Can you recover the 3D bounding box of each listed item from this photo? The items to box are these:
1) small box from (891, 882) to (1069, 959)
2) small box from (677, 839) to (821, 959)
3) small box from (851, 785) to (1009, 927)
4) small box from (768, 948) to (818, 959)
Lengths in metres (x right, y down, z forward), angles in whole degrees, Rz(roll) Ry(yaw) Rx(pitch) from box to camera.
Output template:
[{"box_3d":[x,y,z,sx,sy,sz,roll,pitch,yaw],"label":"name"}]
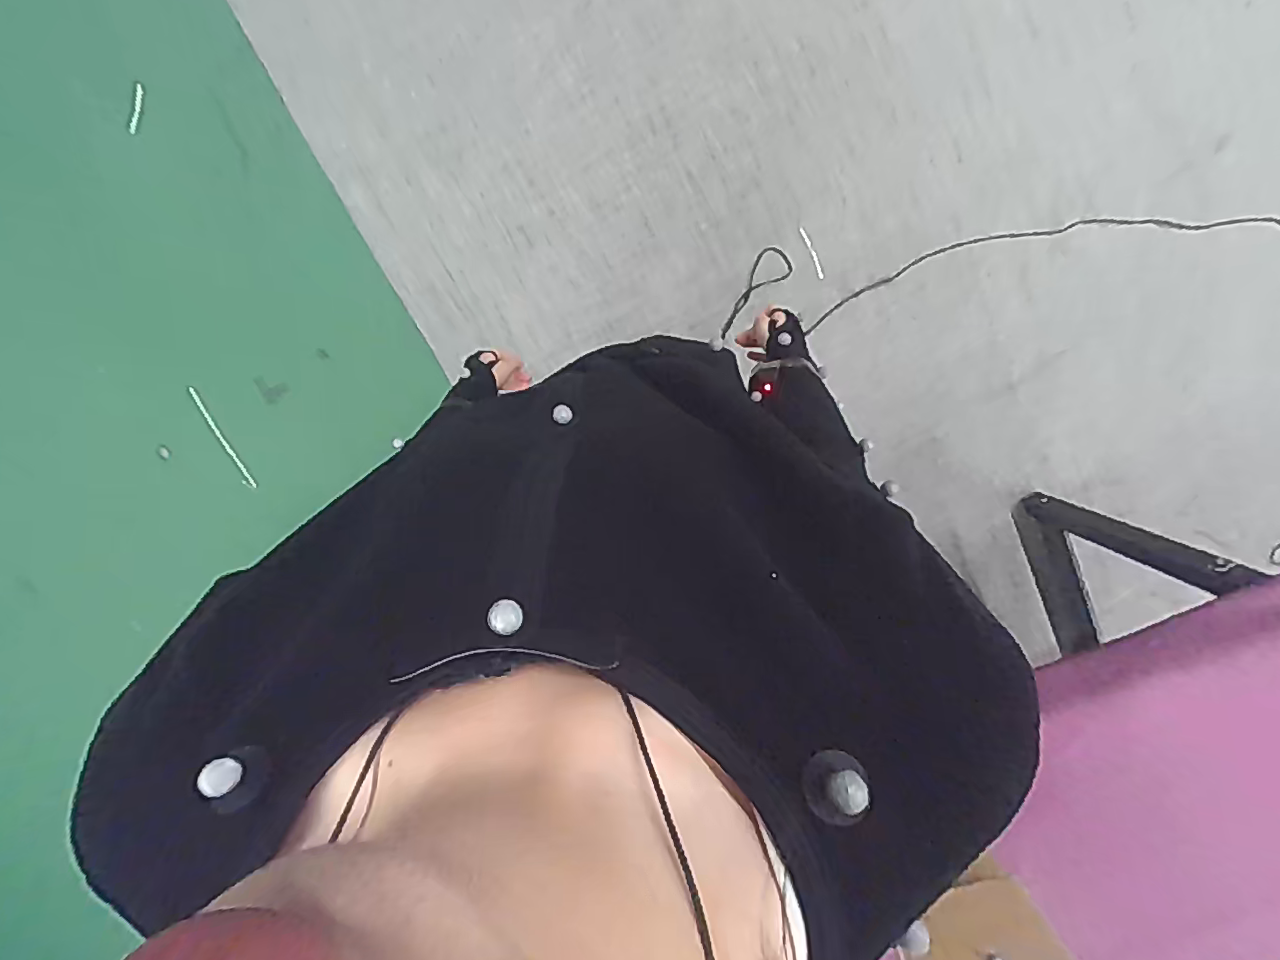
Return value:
[{"box_3d":[0.417,0.626,0.635,0.179,0.176,0.168,-17,103,4],"label":"small box"},{"box_3d":[0.168,0.706,0.828,0.179,0.176,0.168,-29,101,8],"label":"small box"},{"box_3d":[0.446,0.602,0.797,0.168,0.176,0.179,-31,101,8],"label":"small box"},{"box_3d":[0.178,0.744,0.669,0.179,0.176,0.168,-23,101,5],"label":"small box"}]
